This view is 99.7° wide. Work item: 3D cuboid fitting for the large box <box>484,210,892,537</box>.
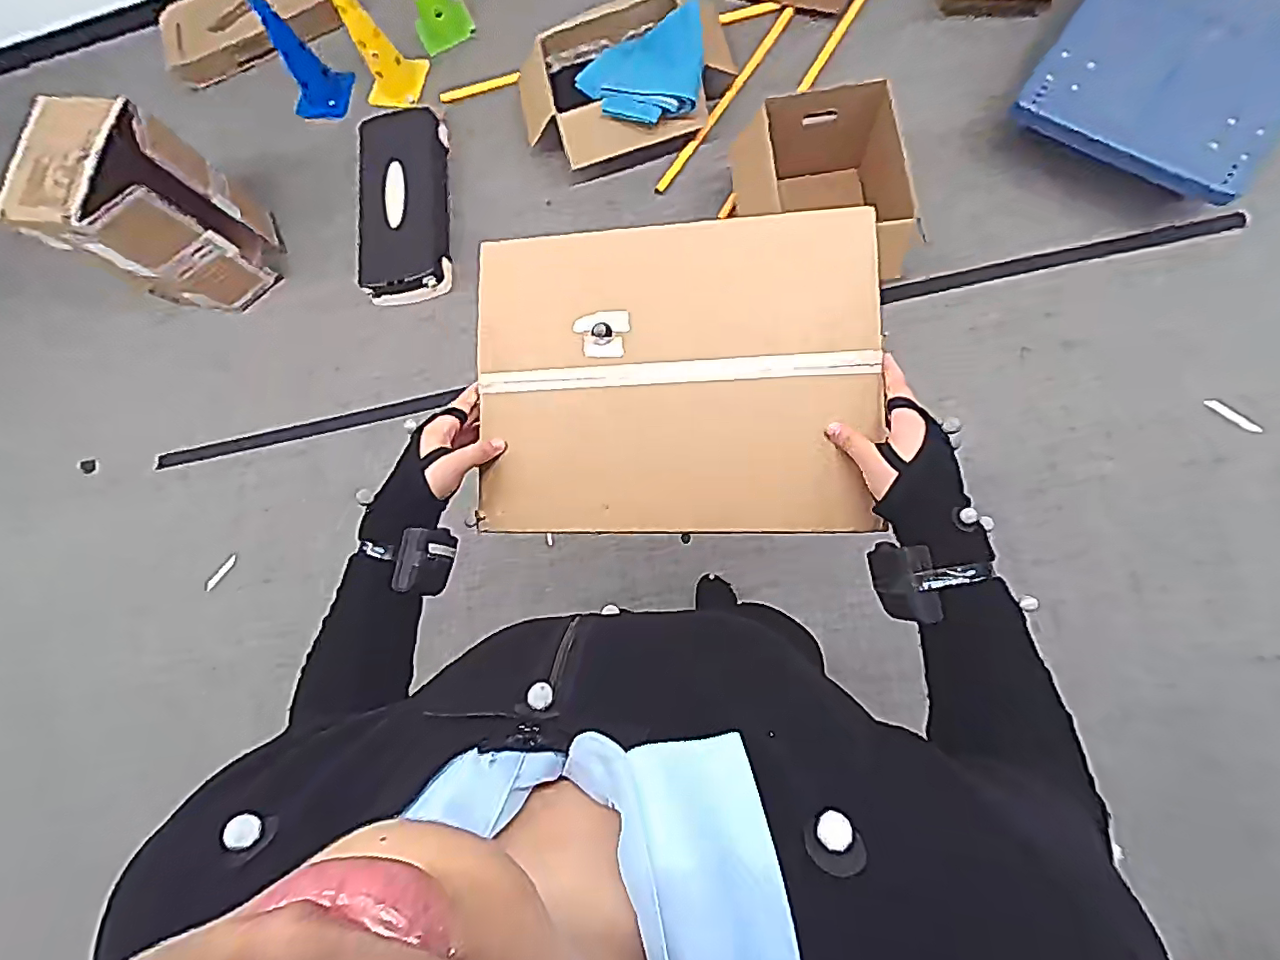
[{"bbox_3d":[0.060,-0.089,0.682,0.408,0.320,0.320,-1,84,10],"label":"large box"}]
